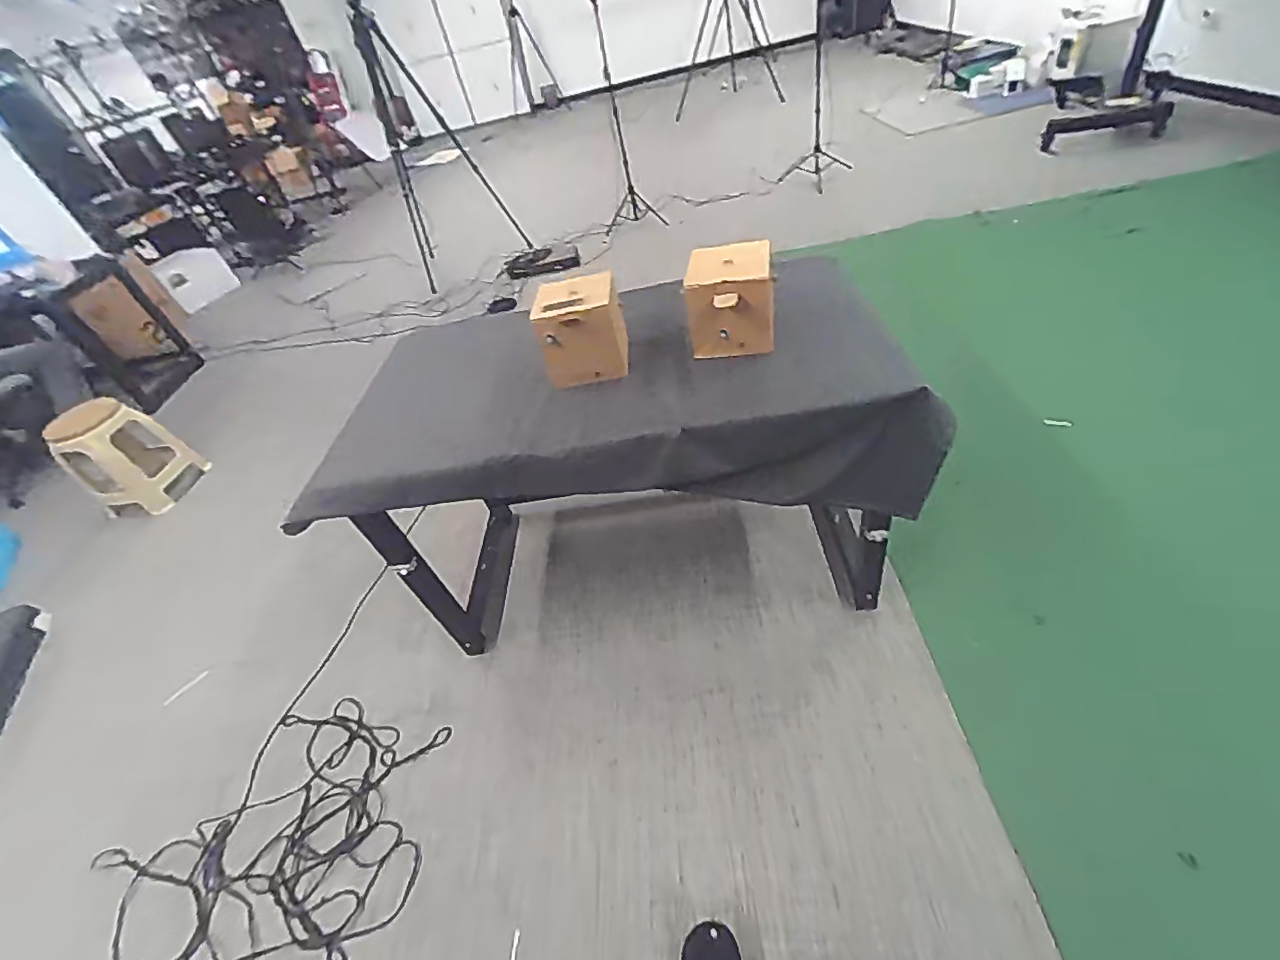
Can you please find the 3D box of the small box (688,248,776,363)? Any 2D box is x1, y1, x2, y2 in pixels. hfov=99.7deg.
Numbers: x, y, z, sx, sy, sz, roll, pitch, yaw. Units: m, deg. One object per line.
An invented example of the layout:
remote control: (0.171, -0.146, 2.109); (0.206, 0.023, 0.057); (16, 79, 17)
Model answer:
small box: (0.201, -0.368, 1.150); (0.168, 0.176, 0.179); (-1, 44, 15)
